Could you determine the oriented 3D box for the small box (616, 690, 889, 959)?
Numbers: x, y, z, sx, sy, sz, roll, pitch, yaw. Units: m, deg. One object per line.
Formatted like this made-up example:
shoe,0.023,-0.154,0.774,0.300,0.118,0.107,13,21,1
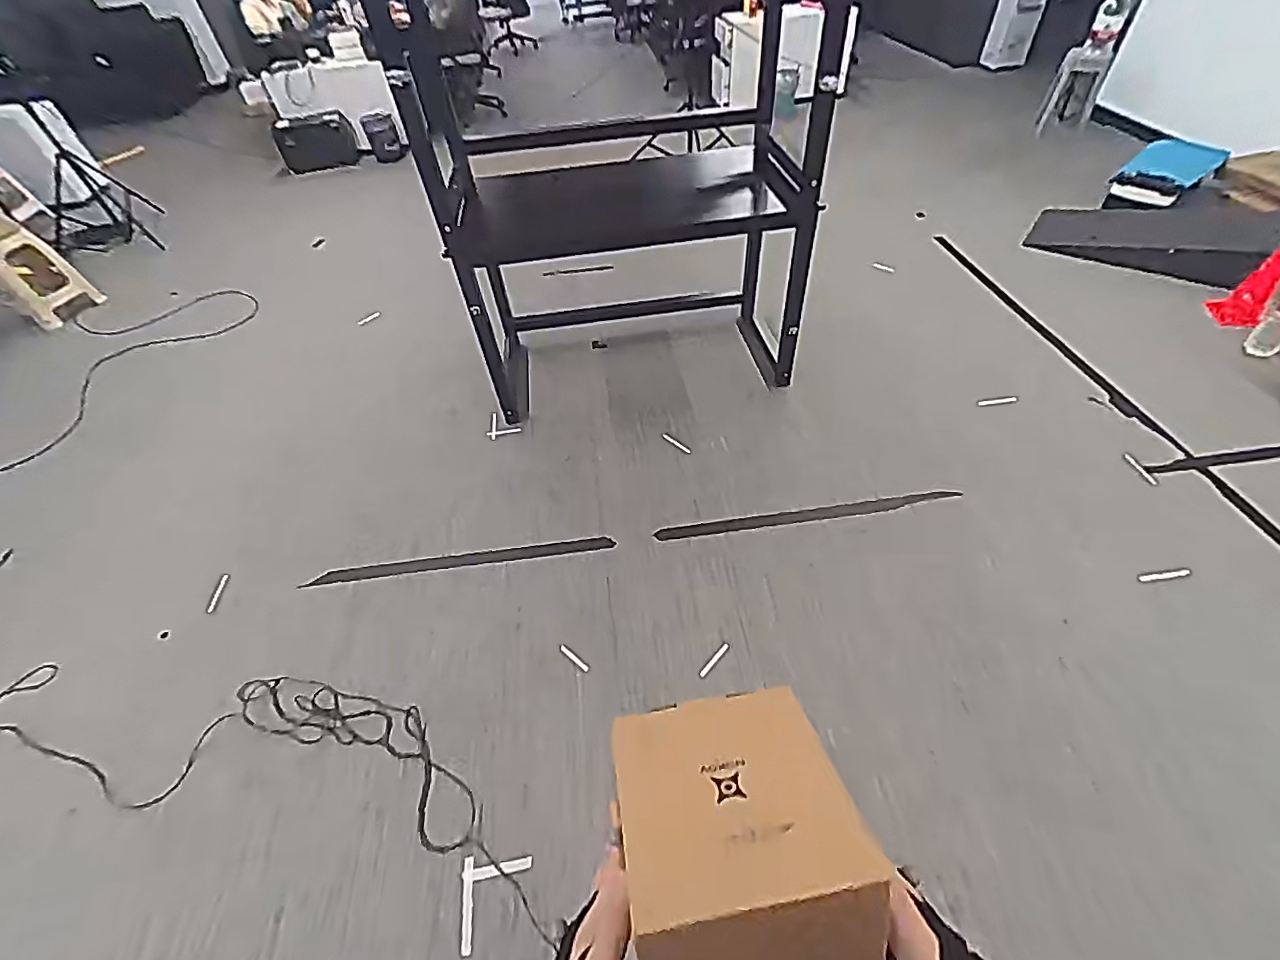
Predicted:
small box,0.075,0.308,0.440,0.168,0.176,0.179,-9,21,-5
